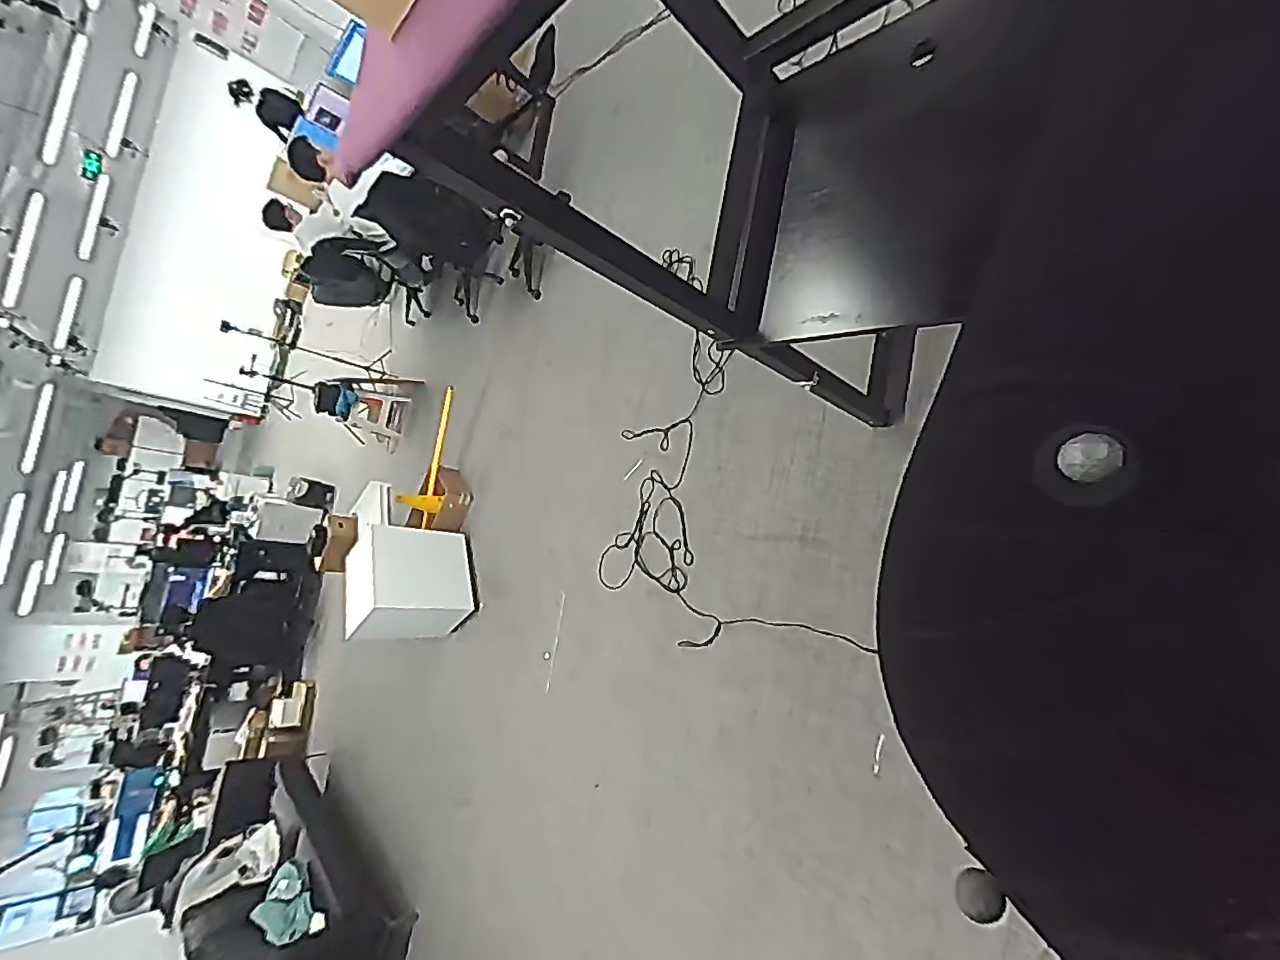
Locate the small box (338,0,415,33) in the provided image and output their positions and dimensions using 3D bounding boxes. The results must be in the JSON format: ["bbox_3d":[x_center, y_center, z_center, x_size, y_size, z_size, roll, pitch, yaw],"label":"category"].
[{"bbox_3d":[-0.257,-0.556,0.472,0.179,0.176,0.168,6,85,48],"label":"small box"}]
